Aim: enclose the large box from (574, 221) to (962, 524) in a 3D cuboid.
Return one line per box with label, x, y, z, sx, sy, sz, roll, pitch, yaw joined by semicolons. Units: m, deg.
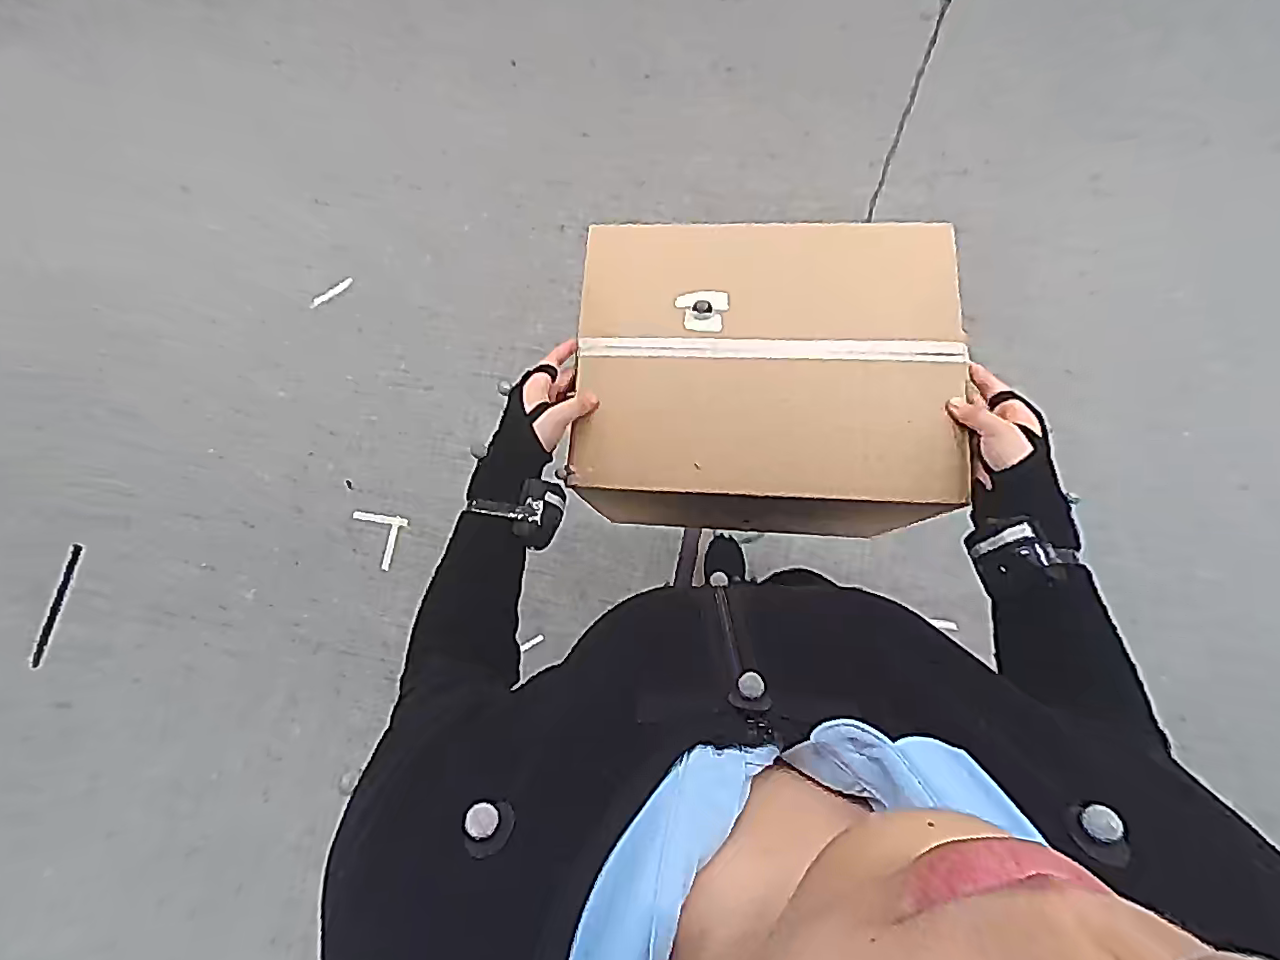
large box;0.148;-0.110;0.735;0.408;0.320;0.320;1;77;7
